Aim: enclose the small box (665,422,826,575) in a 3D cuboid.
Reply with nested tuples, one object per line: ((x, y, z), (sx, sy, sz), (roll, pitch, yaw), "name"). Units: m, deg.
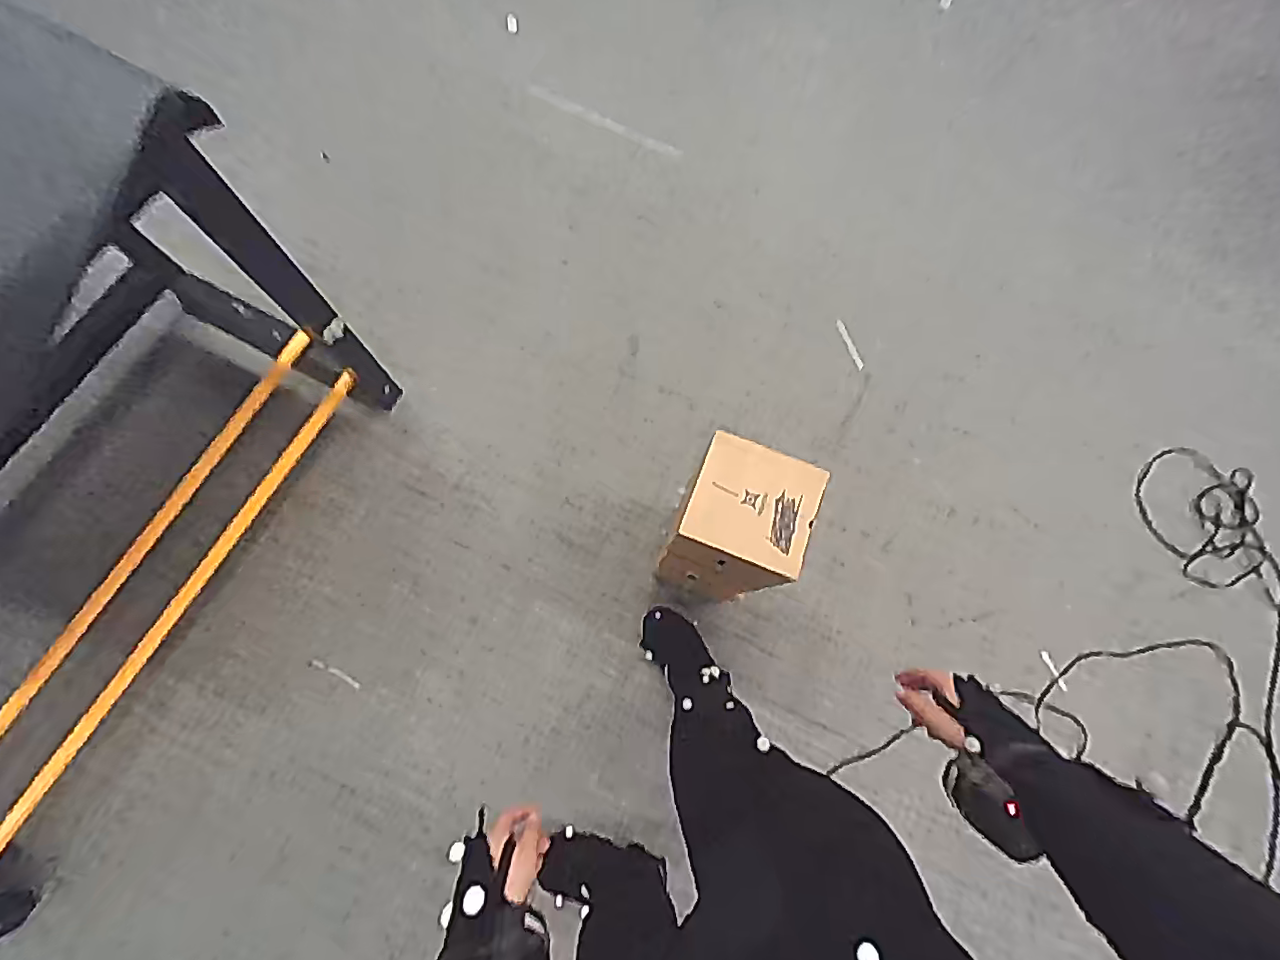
((0.152, 0.039, 0.830), (0.179, 0.176, 0.168), (22, 75, 3), "small box")

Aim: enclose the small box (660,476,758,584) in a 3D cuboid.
((0.142, 0.078, 0.989), (0.168, 0.176, 0.179), (21, 76, 2), "small box")

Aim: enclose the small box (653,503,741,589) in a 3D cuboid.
((0.137, 0.126, 1.146), (0.179, 0.176, 0.168), (22, 75, 1), "small box")
